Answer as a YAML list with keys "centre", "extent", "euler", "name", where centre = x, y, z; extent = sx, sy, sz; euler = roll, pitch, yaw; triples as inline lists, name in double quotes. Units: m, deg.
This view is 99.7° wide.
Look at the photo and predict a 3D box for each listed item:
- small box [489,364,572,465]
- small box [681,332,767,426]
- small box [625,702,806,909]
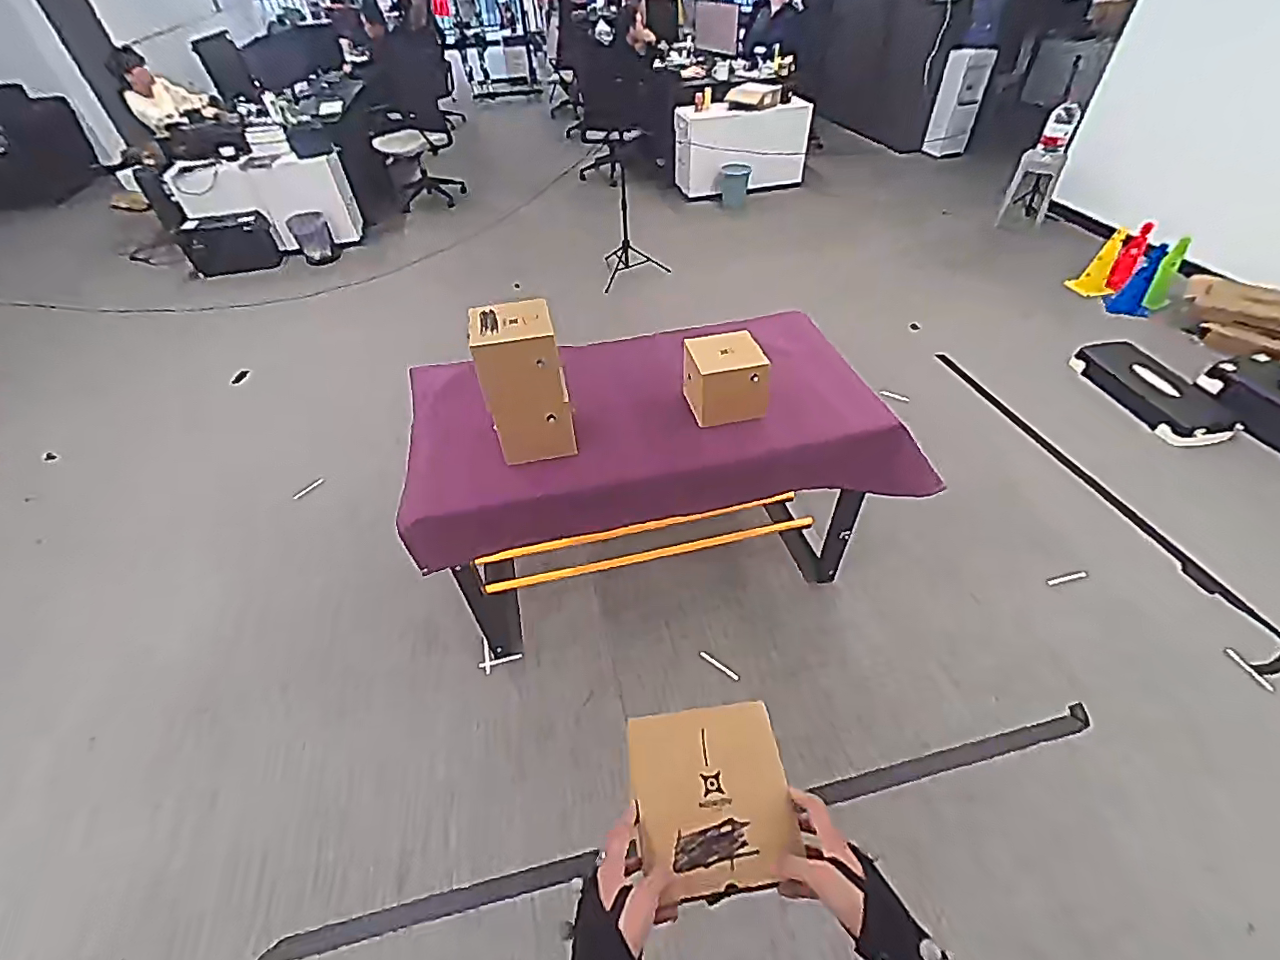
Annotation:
- centre: [-0.263, -0.159, 1.320]
  extent: [0.179, 0.176, 0.168]
  euler: [-10, 46, -7]
  name: "small box"
- centre: [0.210, -0.258, 1.394]
  extent: [0.179, 0.176, 0.168]
  euler: [-10, 46, -8]
  name: "small box"
- centre: [0.073, 0.384, 0.637]
  extent: [0.168, 0.176, 0.179]
  euler: [-5, 51, -6]
  name: "small box"
